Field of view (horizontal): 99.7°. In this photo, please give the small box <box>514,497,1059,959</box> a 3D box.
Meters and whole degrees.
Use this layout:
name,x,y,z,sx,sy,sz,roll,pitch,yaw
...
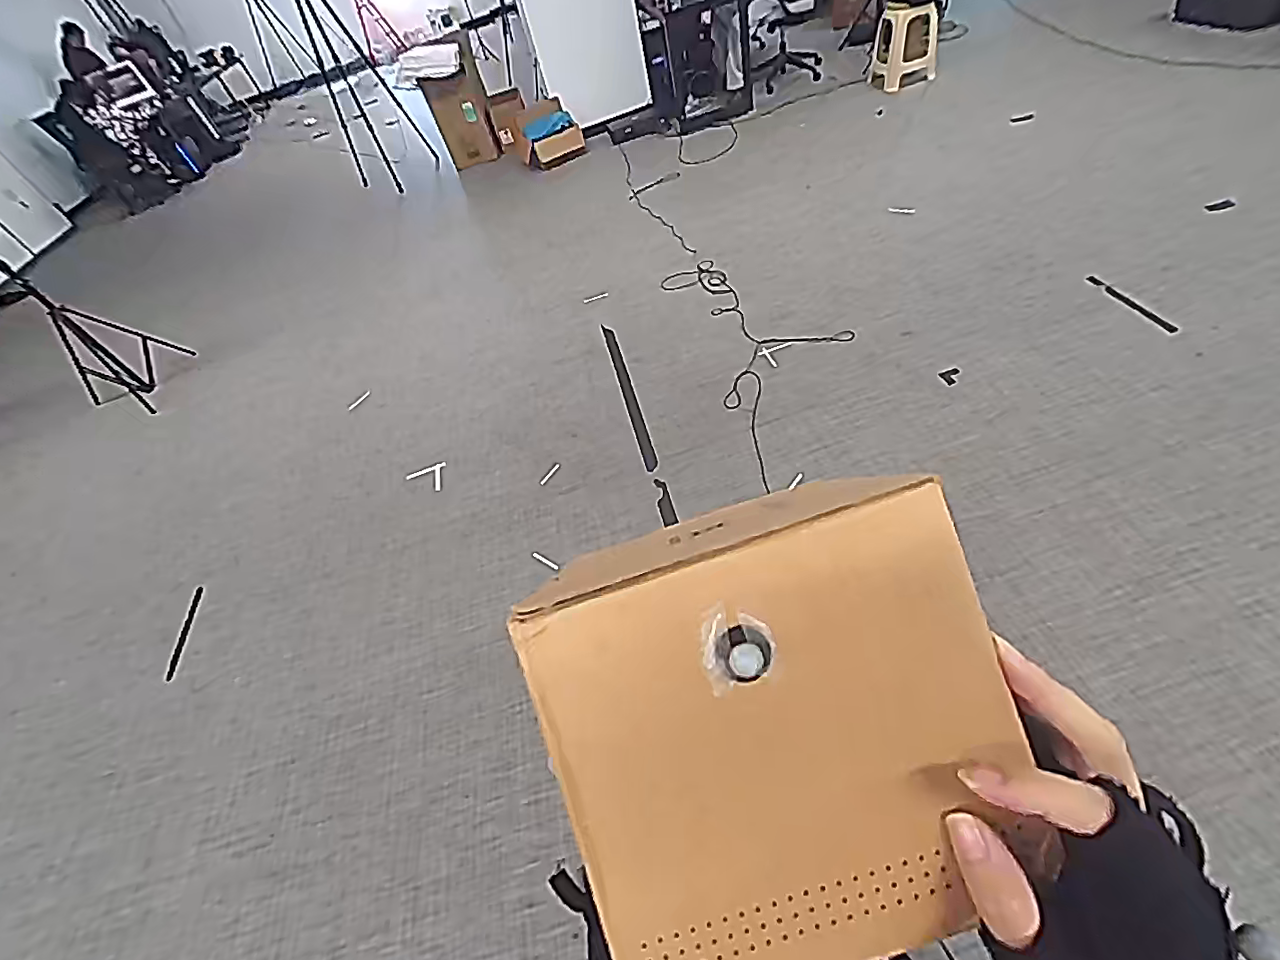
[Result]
name,x,y,z,sx,sy,sz,roll,pitch,yaw
small box,0.060,0.115,0.283,0.179,0.168,0.176,-18,88,1
